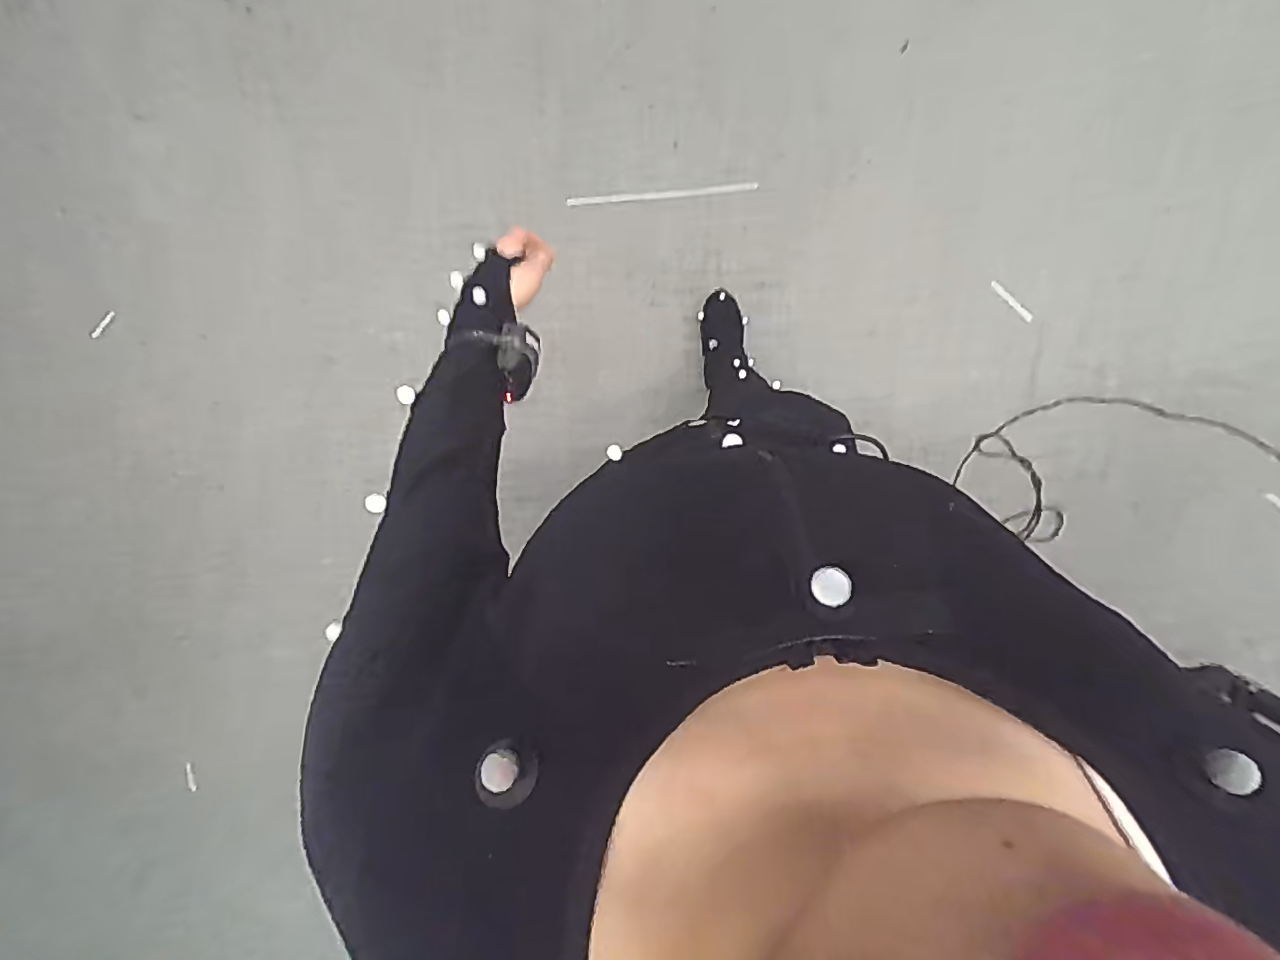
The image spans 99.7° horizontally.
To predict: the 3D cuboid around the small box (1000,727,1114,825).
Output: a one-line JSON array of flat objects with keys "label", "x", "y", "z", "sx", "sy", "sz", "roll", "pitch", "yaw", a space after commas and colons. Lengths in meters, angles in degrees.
[{"label": "small box", "x": 1.115, "y": 0.791, "z": 1.461, "sx": 0.179, "sy": 0.176, "sz": 0.168, "roll": 1, "pitch": 99, "yaw": 3}]
